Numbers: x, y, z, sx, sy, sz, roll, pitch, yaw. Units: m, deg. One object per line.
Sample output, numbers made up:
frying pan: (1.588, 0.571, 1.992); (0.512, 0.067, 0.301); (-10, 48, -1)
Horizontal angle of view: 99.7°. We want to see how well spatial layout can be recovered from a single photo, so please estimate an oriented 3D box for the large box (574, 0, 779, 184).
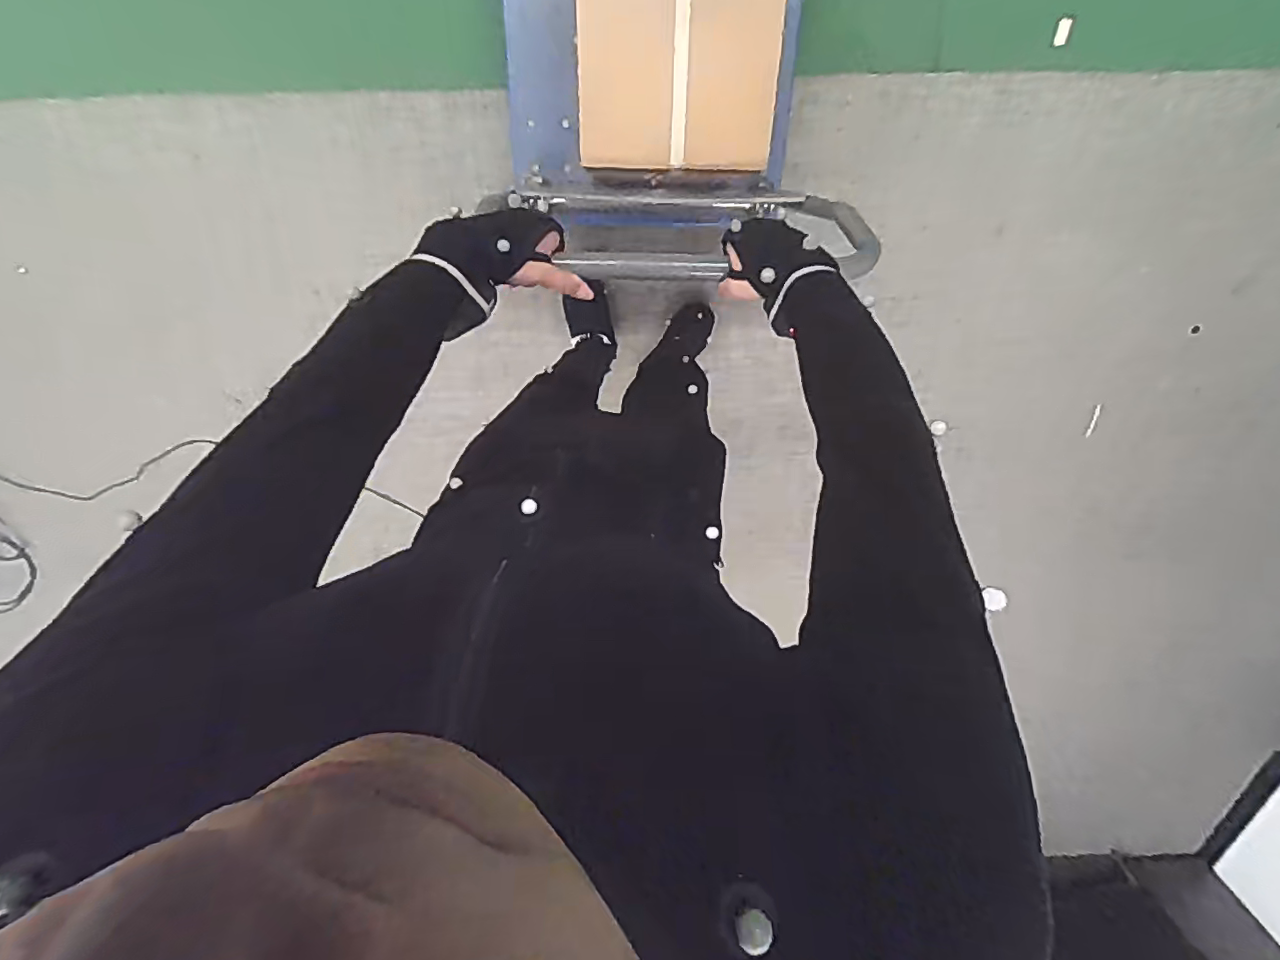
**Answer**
large box: (0.051, -0.757, 0.951); (0.320, 0.320, 0.408); (-1, 116, -3)
